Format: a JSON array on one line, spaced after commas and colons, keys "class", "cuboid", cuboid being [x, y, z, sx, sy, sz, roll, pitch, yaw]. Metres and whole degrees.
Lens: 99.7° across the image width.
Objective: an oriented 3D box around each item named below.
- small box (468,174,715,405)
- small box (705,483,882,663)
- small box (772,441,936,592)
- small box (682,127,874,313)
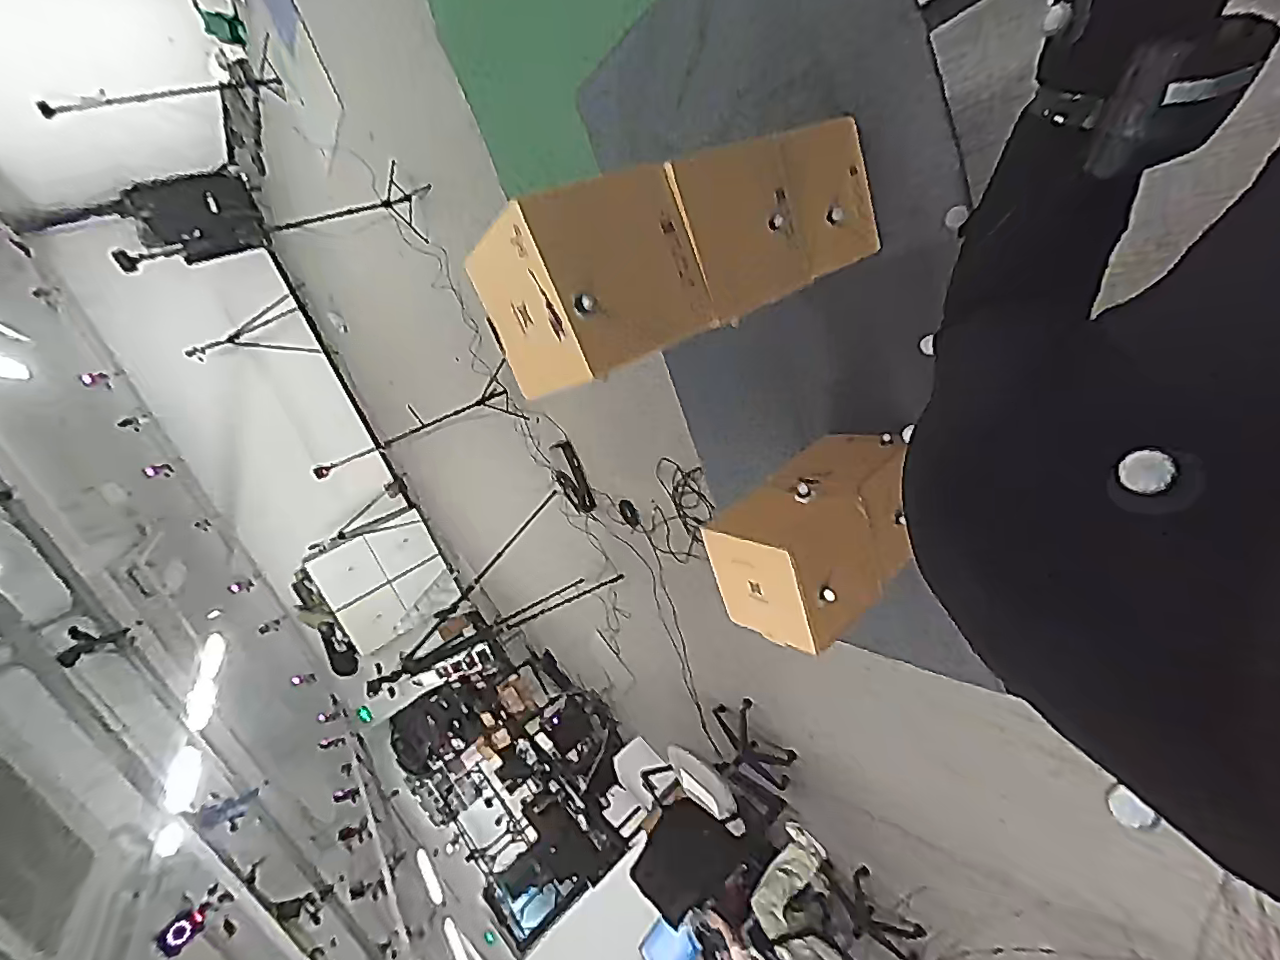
[{"class": "small box", "cuboid": [-0.052, -0.194, 0.577, 0.179, 0.176, 0.168, 2, 120, 58]}, {"class": "small box", "cuboid": [0.229, 0.125, 0.792, 0.168, 0.176, 0.179, 8, 123, 53]}, {"class": "small box", "cuboid": [0.347, 0.047, 0.871, 0.168, 0.176, 0.179, 8, 124, 55]}, {"class": "small box", "cuboid": [0.193, -0.348, 0.734, 0.179, 0.176, 0.168, 6, 123, 56]}]
